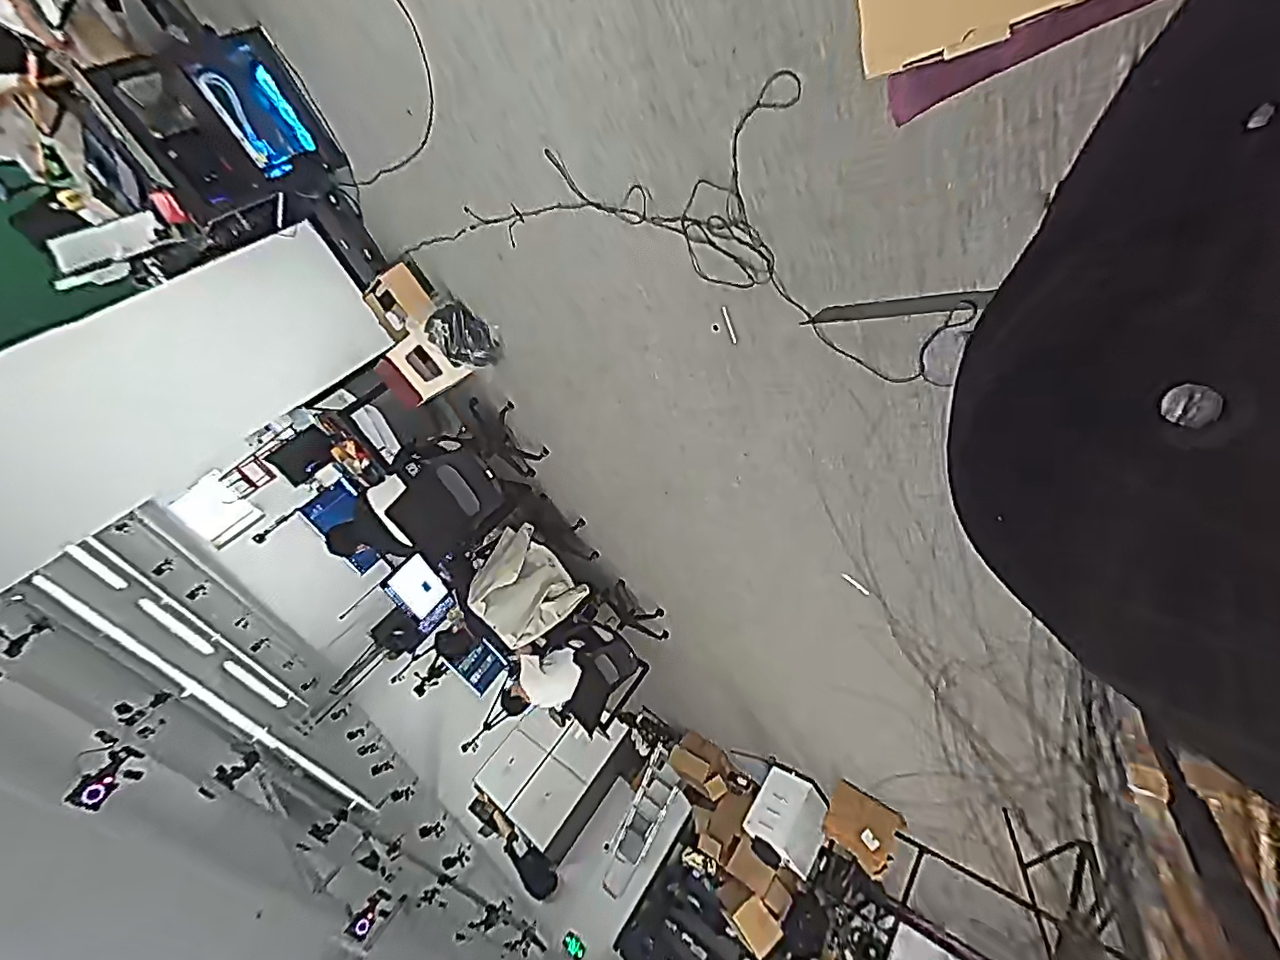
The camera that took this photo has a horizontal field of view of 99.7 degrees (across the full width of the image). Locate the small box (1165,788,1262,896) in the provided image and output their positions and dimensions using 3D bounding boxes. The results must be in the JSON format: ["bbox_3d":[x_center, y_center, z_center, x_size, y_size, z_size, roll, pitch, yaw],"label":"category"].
[{"bbox_3d":[1.662,1.042,1.569,0.179,0.176,0.168,9,136,46],"label":"small box"}]

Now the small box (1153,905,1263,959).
[{"bbox_3d":[1.470,1.255,1.407,0.179,0.176,0.168,12,139,42],"label":"small box"}]

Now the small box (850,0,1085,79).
[{"bbox_3d":[0.265,-0.451,0.405,0.168,0.176,0.179,10,137,43],"label":"small box"}]
